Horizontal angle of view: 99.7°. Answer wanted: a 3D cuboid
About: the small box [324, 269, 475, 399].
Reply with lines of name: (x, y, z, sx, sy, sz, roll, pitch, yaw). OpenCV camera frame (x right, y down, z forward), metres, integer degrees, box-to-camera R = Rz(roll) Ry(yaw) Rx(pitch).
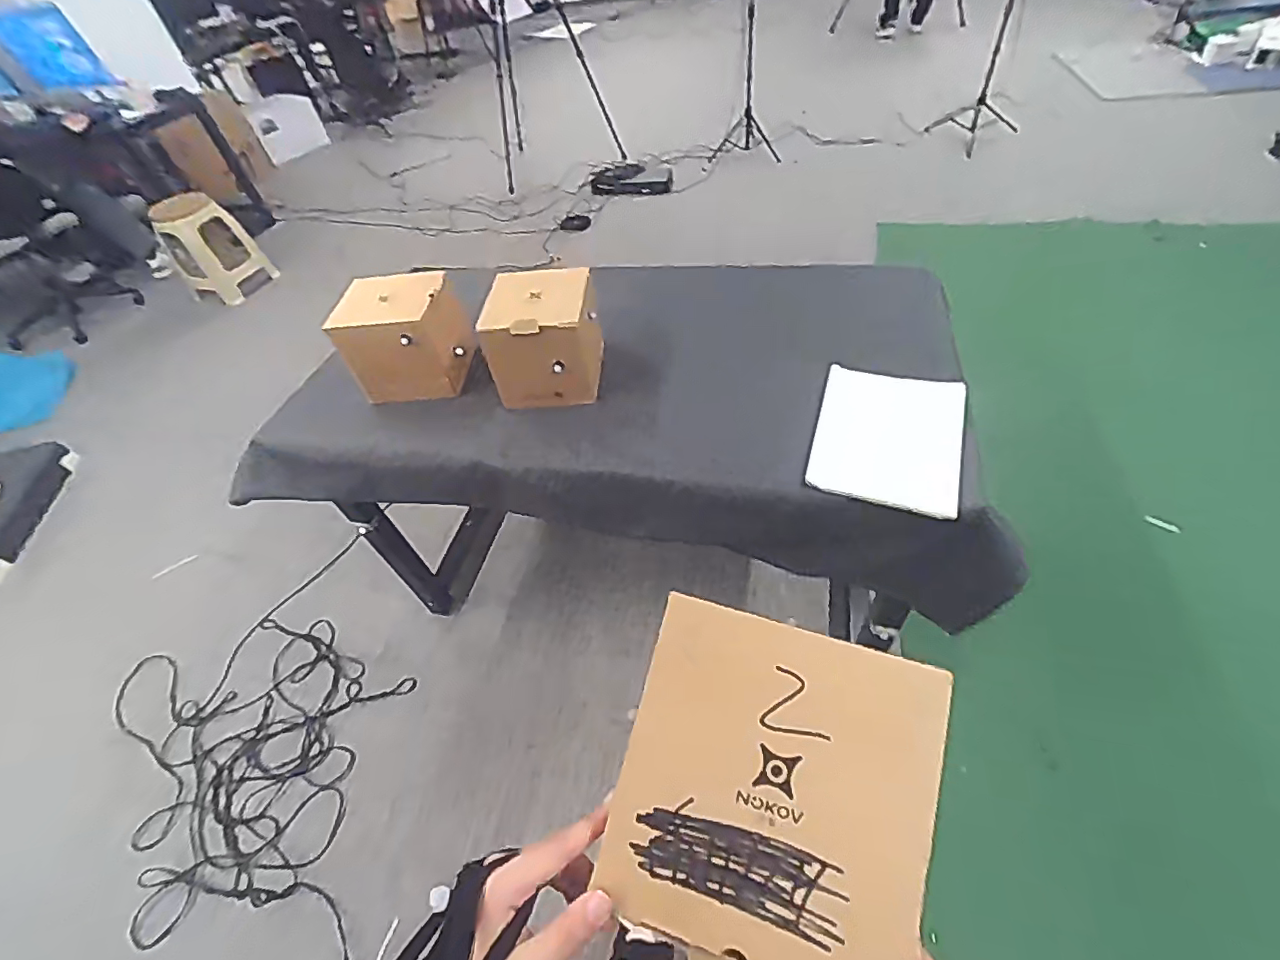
small box: (-0.430, -0.265, 1.000, 0.179, 0.176, 0.168, -4, 49, 5)

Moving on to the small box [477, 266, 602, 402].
small box: (-0.164, -0.250, 0.947, 0.168, 0.176, 0.179, -2, 48, 5)
